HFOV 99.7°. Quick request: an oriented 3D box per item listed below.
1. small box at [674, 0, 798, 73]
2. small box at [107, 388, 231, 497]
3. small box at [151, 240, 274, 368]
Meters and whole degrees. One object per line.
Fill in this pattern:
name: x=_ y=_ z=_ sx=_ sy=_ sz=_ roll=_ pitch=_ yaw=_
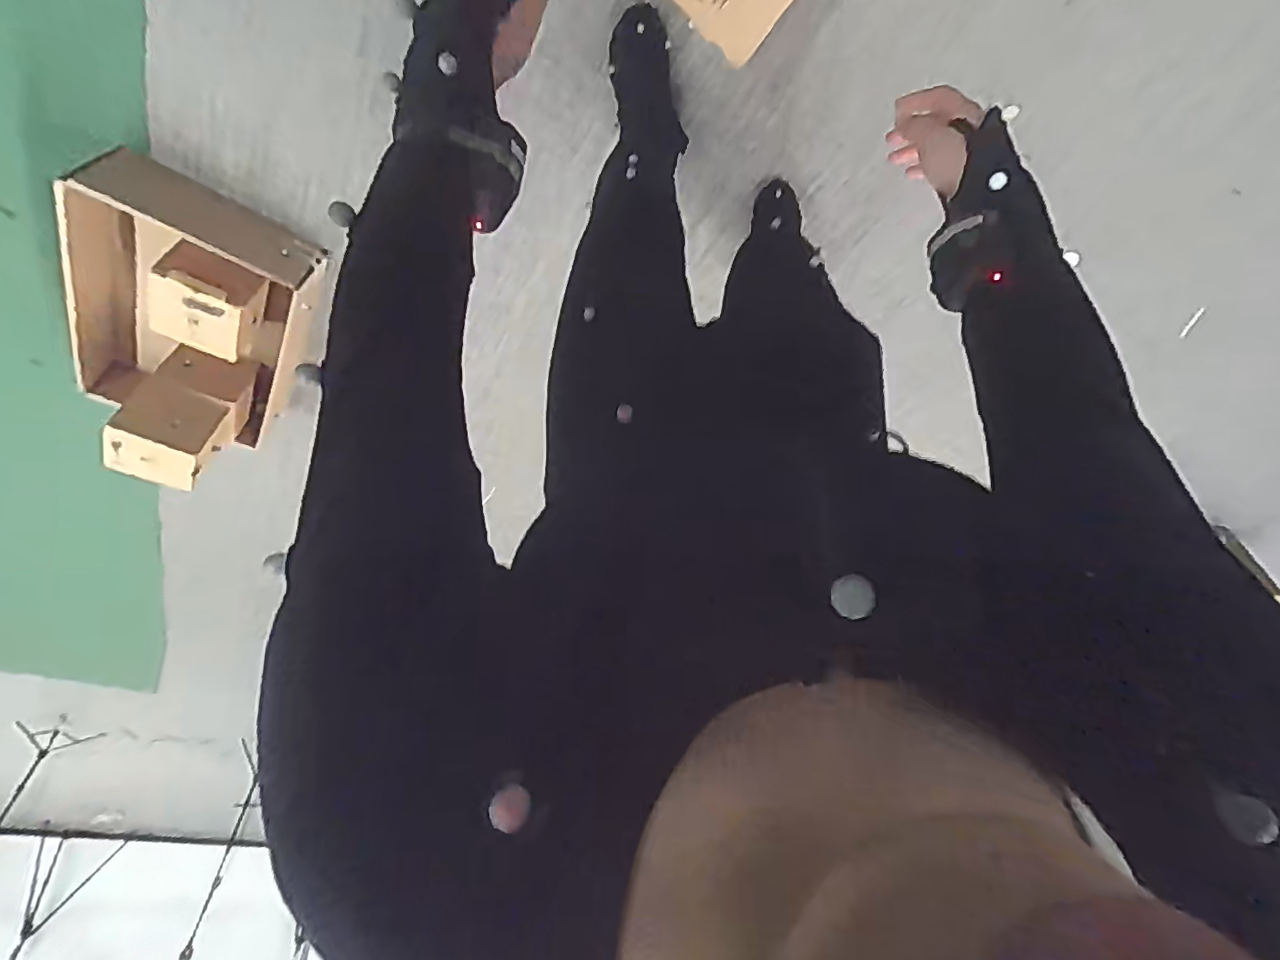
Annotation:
small box: x=0.152 y=-0.796 z=0.840 sx=0.168 sy=0.176 sz=0.179 roll=27 pitch=132 yaw=-28
small box: x=-1.125 y=-0.092 z=1.300 sx=0.179 sy=0.176 sz=0.168 roll=24 pitch=133 yaw=-28
small box: x=-0.945 y=-0.393 z=1.204 sx=0.168 sy=0.176 sz=0.179 roll=23 pitch=135 yaw=-26
